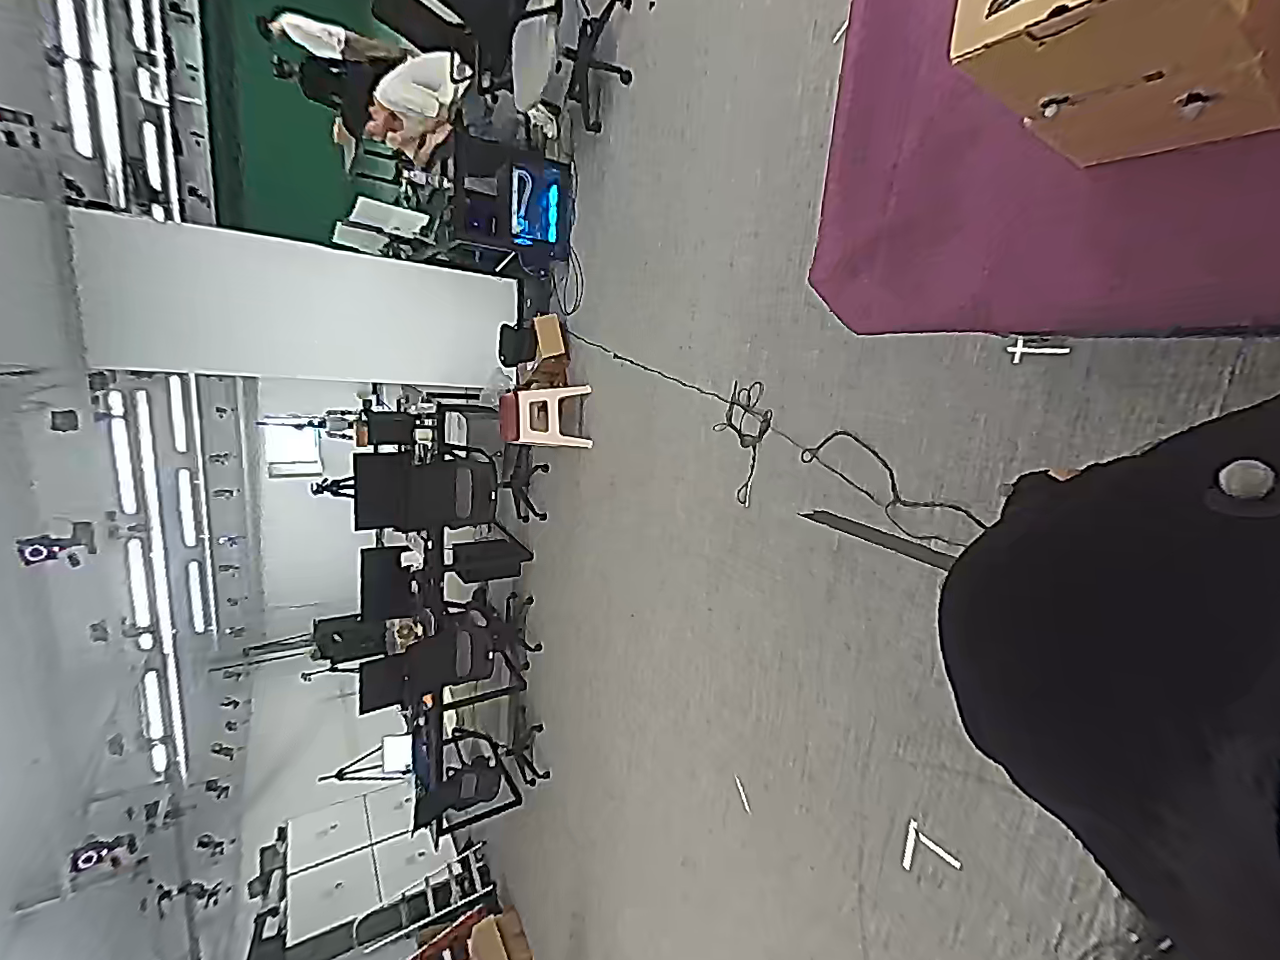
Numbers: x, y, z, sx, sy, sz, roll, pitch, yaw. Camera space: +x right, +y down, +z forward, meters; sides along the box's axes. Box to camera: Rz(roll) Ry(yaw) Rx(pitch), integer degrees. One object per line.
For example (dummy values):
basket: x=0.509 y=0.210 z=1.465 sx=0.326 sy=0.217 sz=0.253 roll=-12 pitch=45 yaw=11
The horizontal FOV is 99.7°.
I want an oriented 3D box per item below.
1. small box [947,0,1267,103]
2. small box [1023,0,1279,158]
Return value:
small box: x=0.387 y=-0.440 z=0.436 sx=0.168 sy=0.176 sz=0.179 roll=22 pitch=110 yaw=55
small box: x=0.525 y=-0.440 z=0.526 sx=0.179 sy=0.176 sz=0.168 roll=25 pitch=113 yaw=55
